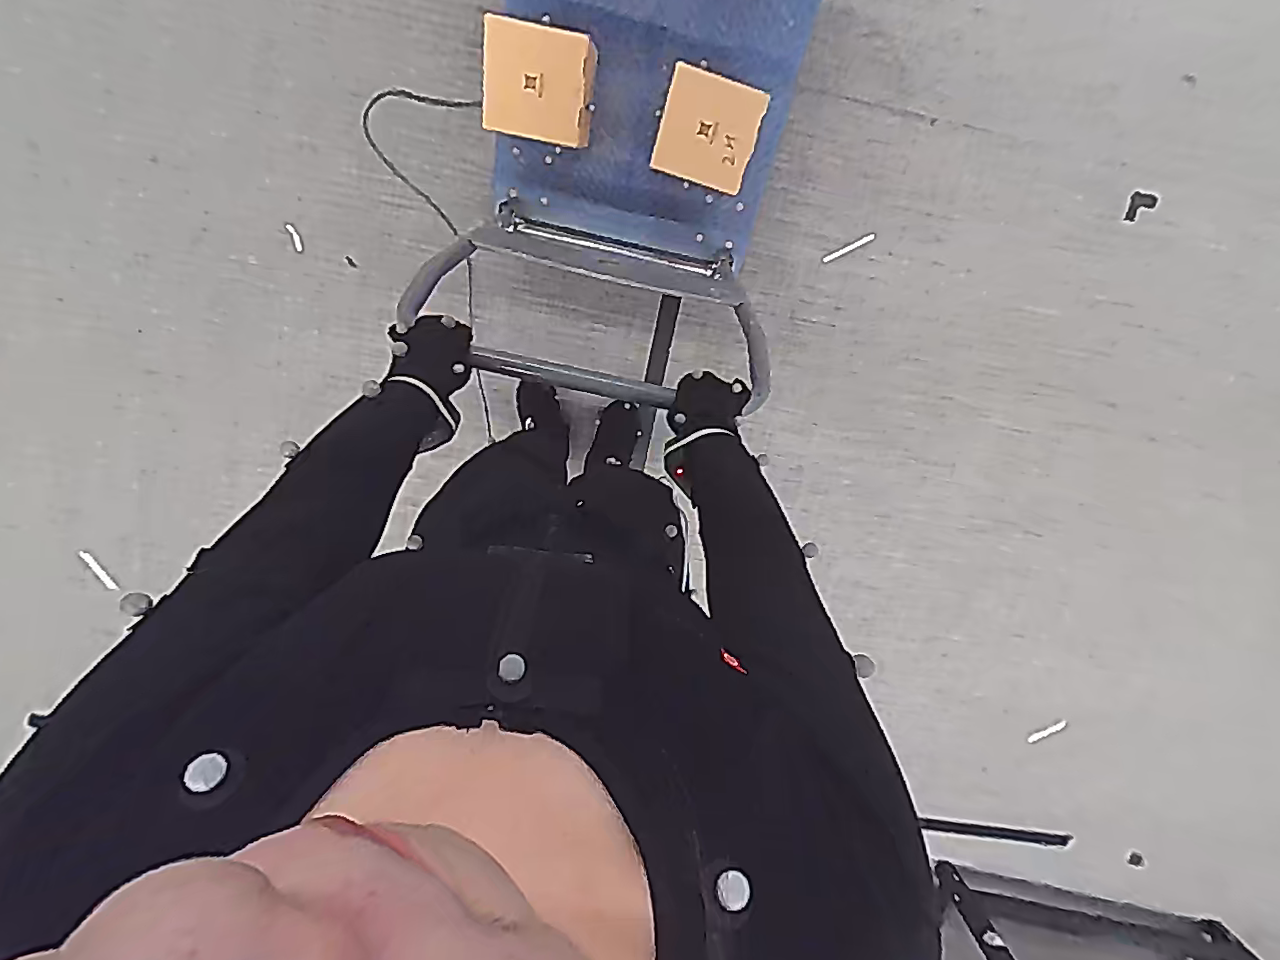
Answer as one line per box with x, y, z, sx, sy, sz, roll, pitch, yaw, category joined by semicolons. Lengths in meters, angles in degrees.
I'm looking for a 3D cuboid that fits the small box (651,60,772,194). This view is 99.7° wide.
0.128;-0.666;1.037;0.179;0.176;0.168;15;120;-7;small box

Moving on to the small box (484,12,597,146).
-0.181;-0.731;1.006;0.179;0.176;0.168;8;121;-5;small box
